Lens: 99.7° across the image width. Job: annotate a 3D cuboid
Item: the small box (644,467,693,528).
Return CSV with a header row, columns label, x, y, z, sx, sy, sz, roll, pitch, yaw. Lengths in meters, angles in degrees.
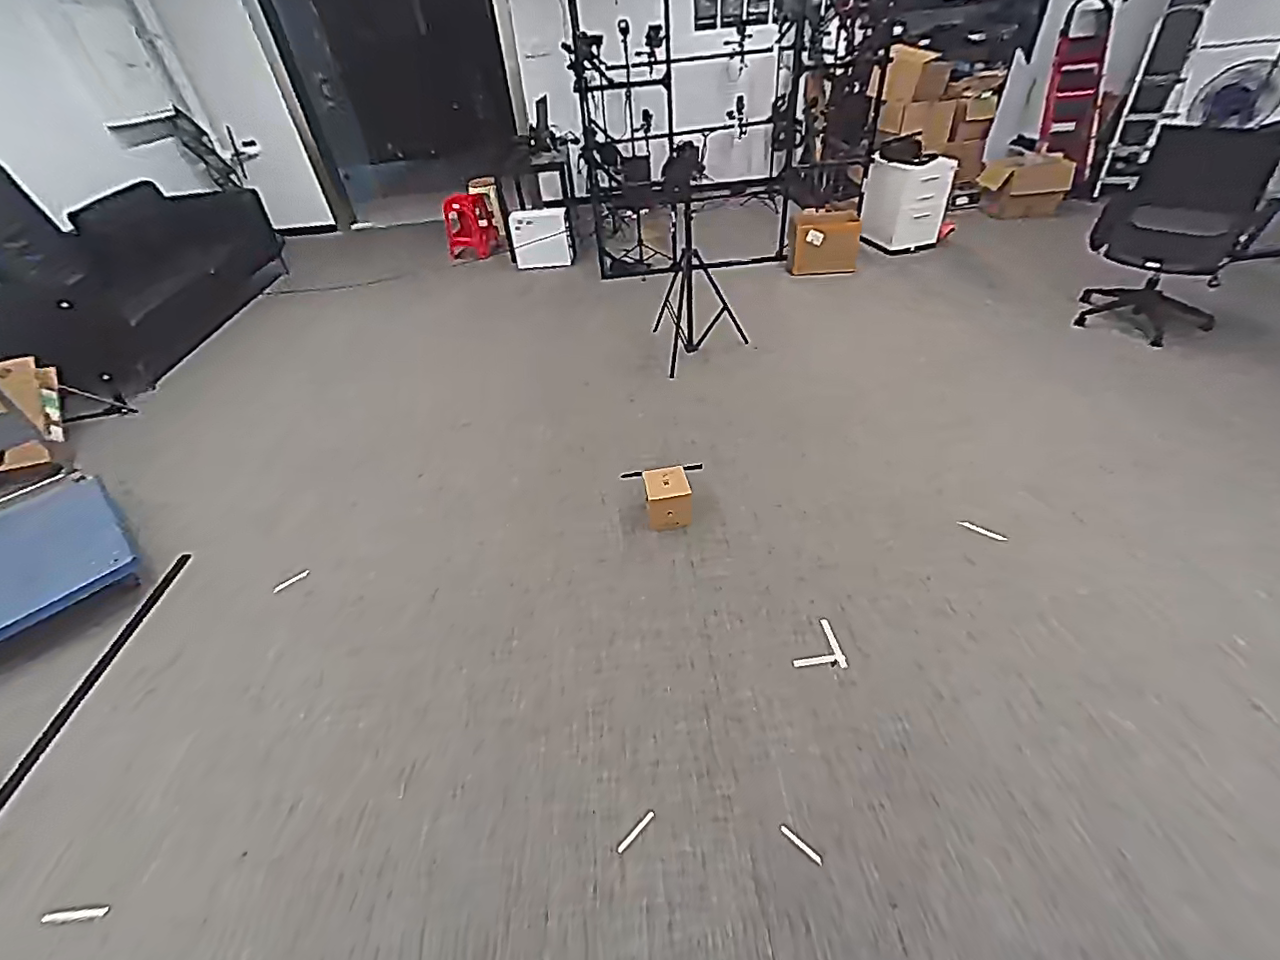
label,x,y,z,sx,sy,sz,roll,pitch,yaw
small box,0.113,0.074,2.136,0.168,0.176,0.179,-9,40,-4
